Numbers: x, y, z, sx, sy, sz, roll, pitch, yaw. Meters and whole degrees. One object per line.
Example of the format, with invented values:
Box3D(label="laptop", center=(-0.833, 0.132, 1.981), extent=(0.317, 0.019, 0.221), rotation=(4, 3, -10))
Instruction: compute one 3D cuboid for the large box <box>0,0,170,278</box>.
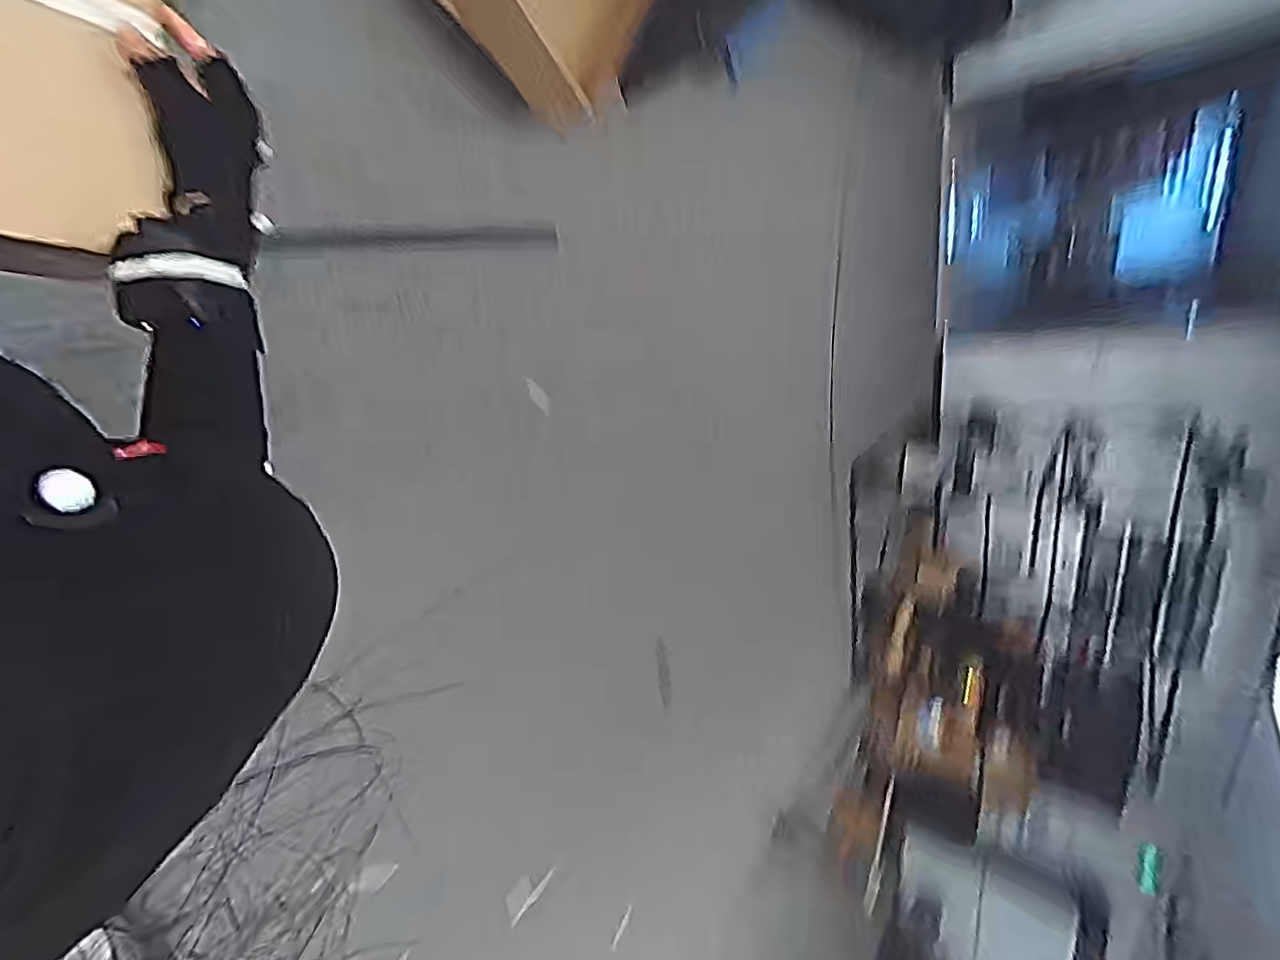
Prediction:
Box3D(label="large box", center=(-0.601, -0.326, 0.327), extent=(0.408, 0.320, 0.320), rotation=(-10, 108, -54))
